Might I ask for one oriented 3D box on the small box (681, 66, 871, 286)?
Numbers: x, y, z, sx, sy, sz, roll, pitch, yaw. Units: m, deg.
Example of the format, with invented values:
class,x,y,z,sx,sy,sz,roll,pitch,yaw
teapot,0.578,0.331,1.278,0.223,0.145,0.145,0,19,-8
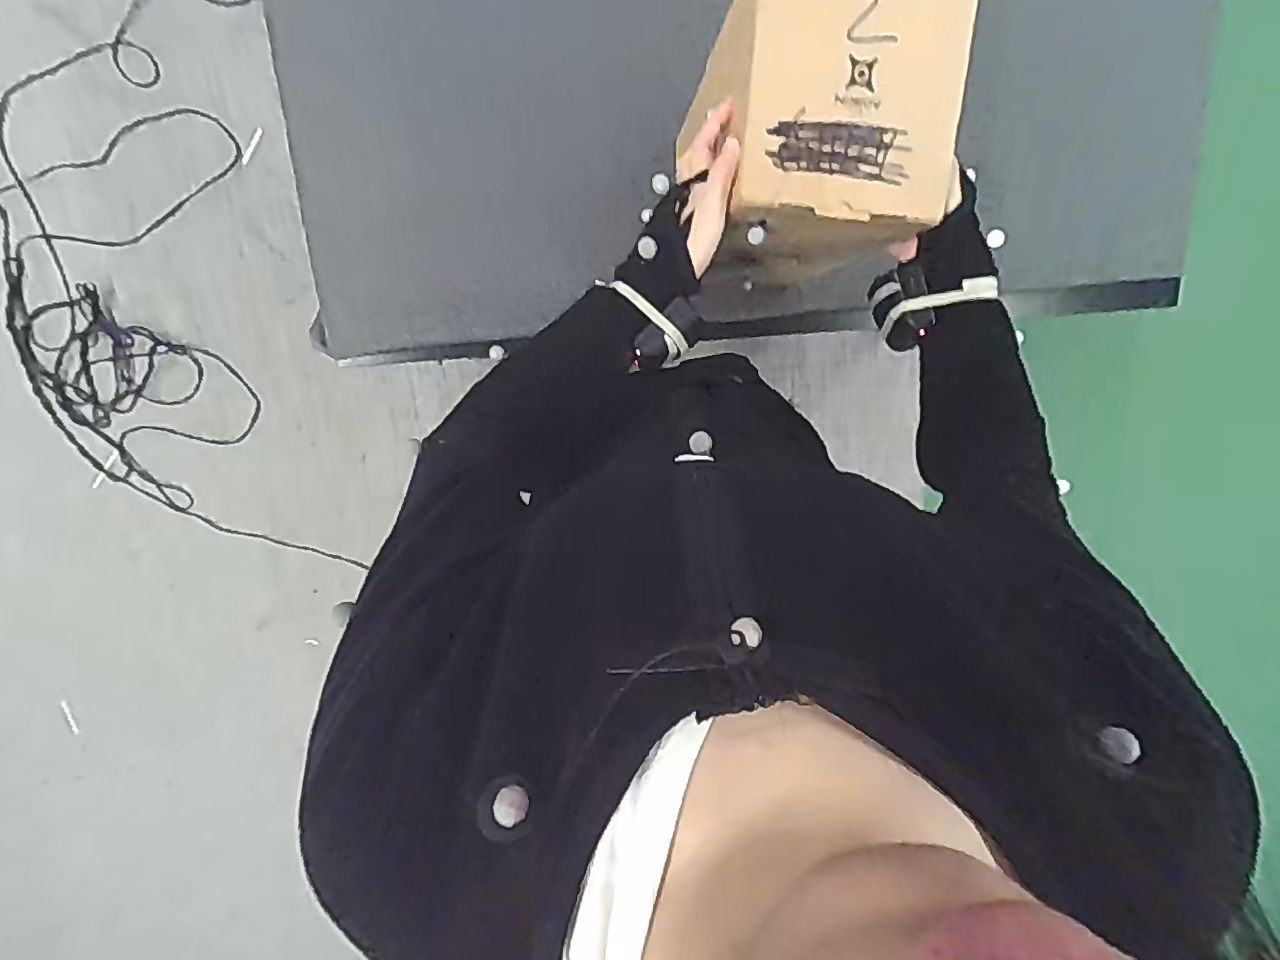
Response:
class,x,y,z,sx,sy,sz,roll,pitch,yaw
small box,0.142,-0.332,0.625,0.168,0.176,0.179,-2,101,-6
